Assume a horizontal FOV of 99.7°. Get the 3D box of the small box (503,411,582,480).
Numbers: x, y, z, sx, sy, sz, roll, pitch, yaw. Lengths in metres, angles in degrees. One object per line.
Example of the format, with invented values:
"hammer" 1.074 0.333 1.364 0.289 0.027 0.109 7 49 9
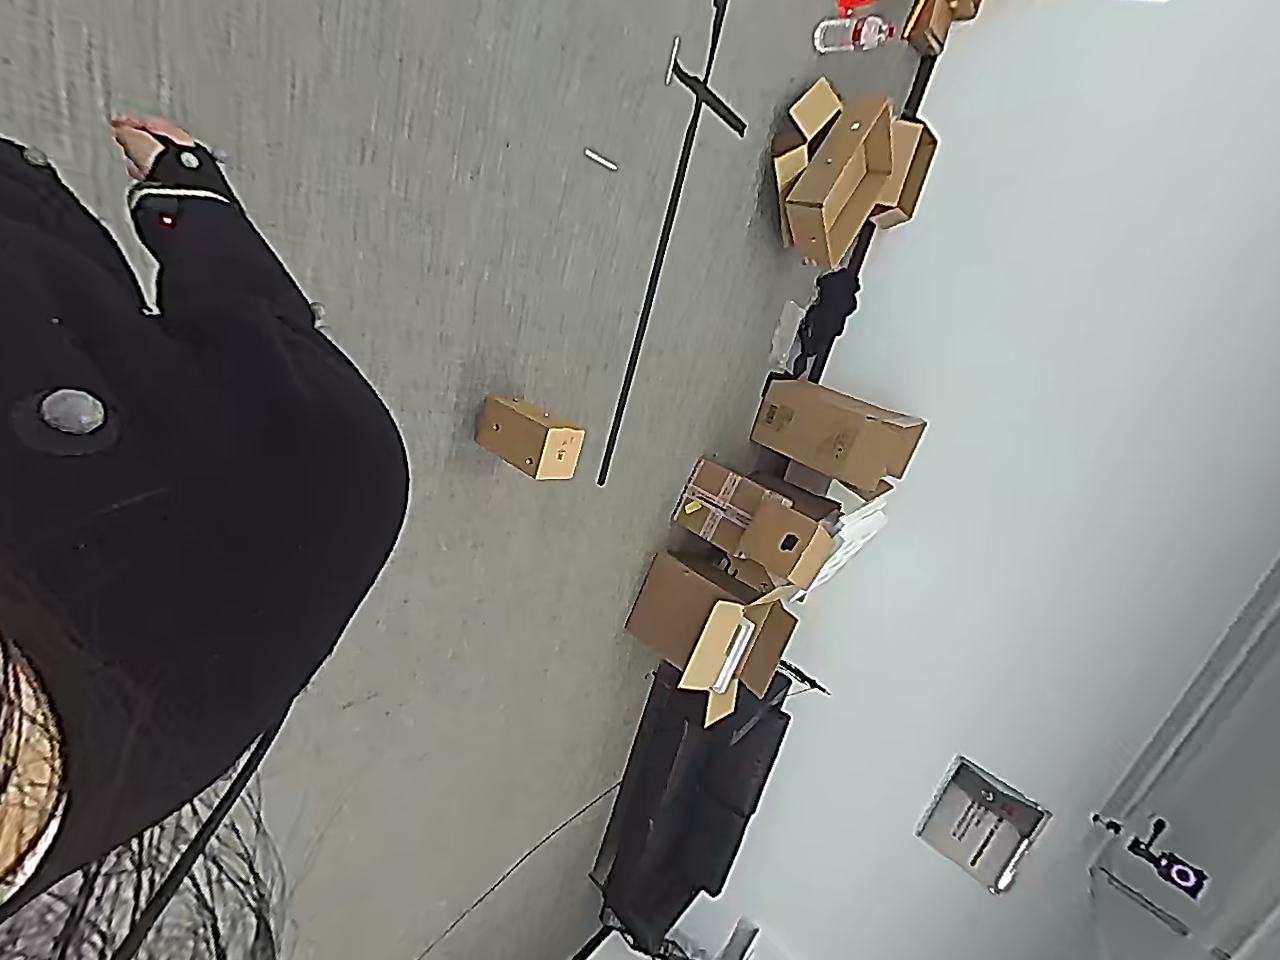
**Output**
"small box" -0.325 -0.113 1.773 0.168 0.176 0.179 -2 114 -54
